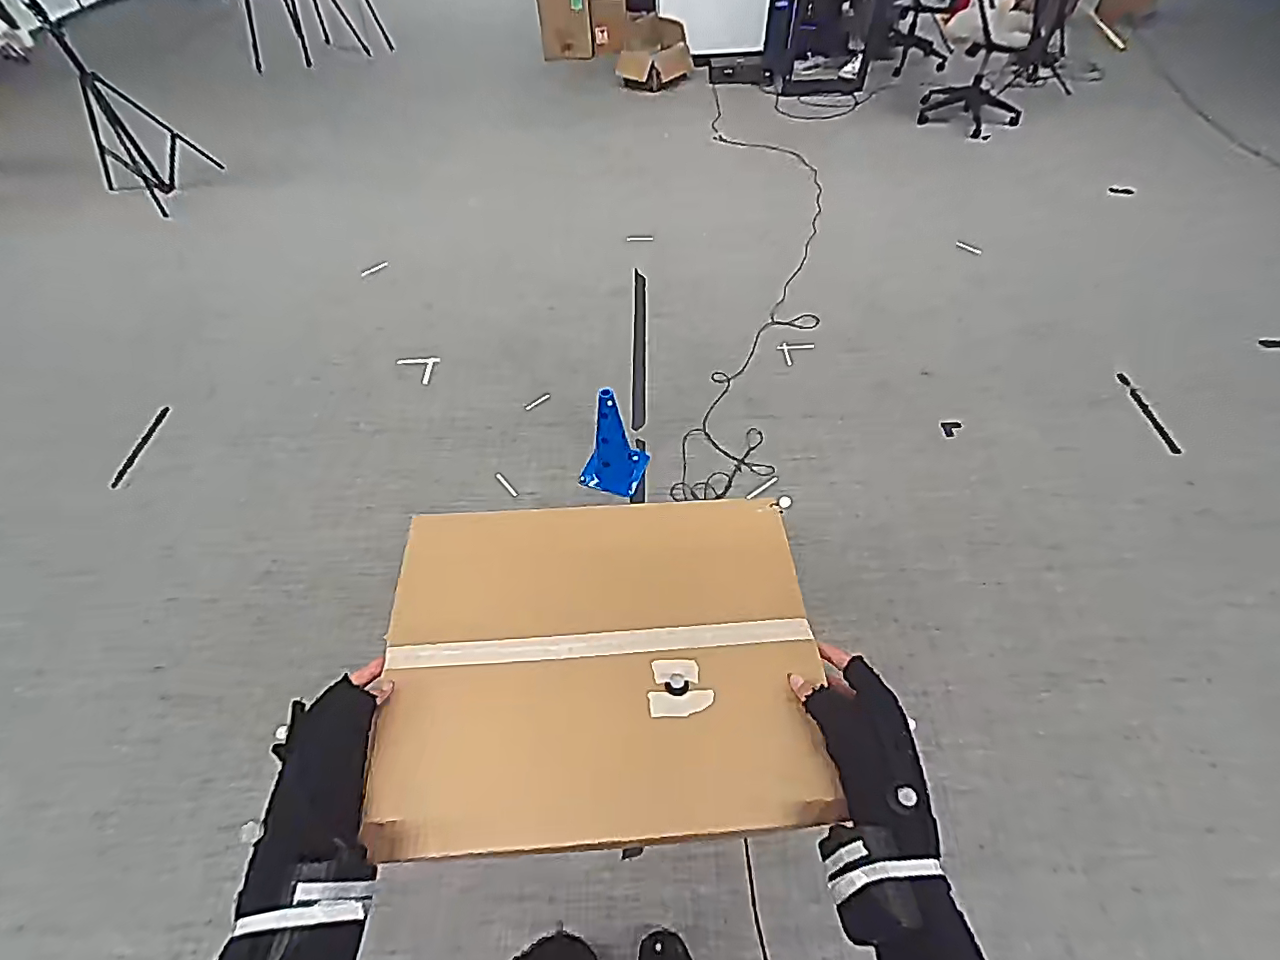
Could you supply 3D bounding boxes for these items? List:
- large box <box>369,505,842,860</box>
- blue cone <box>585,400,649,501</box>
[{"bbox_3d":[-0.039,0.250,0.652,0.408,0.320,0.320,-2,55,-3],"label":"large box"},{"bbox_3d":[-0.085,-0.119,1.744,0.193,0.380,0.192,16,56,15],"label":"blue cone"}]
